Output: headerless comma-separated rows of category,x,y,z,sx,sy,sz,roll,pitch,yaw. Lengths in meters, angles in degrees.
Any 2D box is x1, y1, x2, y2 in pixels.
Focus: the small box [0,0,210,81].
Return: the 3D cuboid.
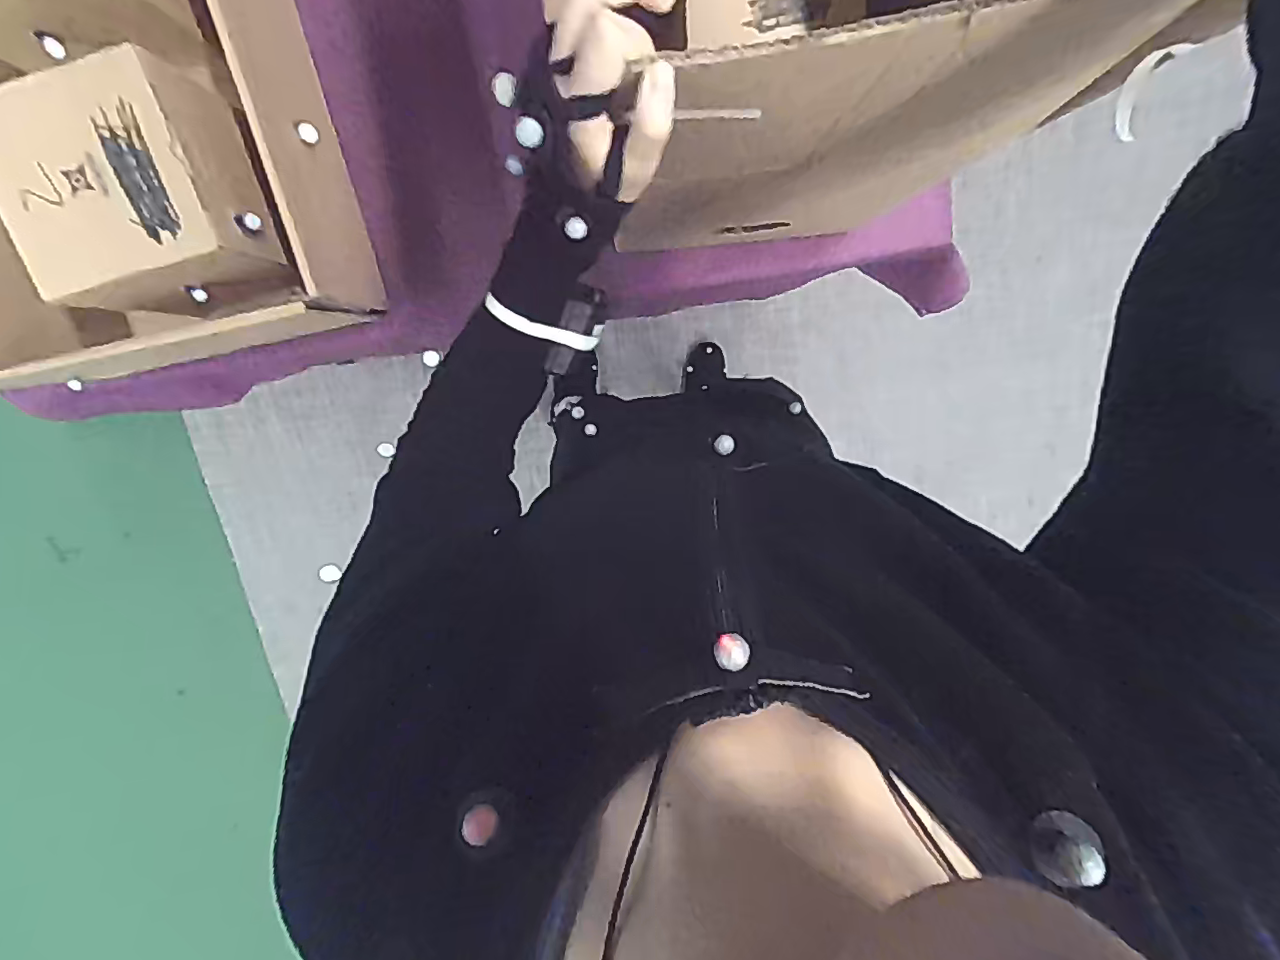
small box,-0.551,-0.502,0.491,0.168,0.176,0.179,-14,103,3
